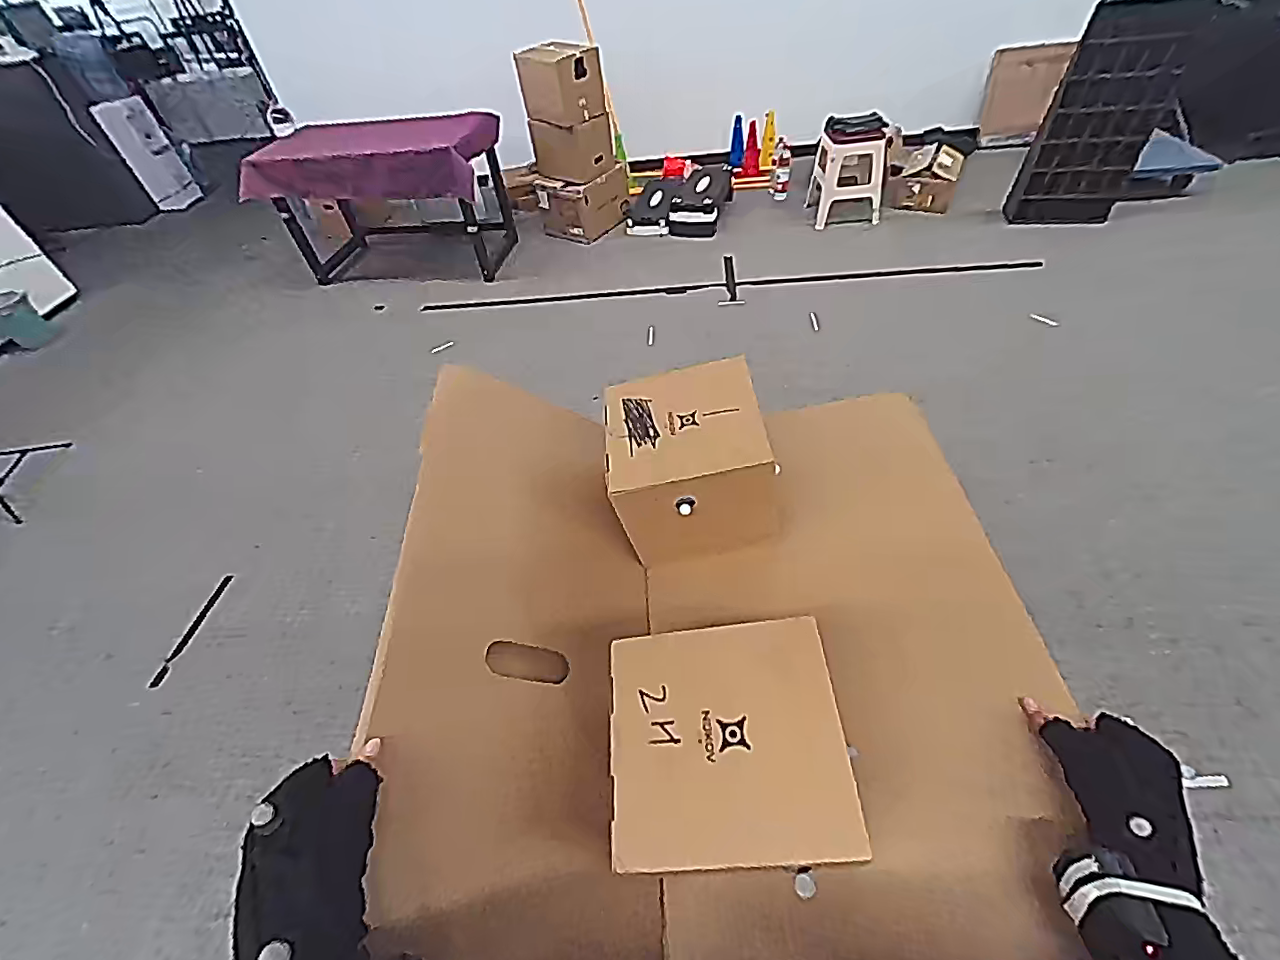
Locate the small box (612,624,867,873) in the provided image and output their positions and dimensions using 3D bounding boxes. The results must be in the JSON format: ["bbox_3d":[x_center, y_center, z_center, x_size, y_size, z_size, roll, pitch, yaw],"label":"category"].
[{"bbox_3d":[0.082,0.242,0.477,0.179,0.176,0.168,-10,52,10],"label":"small box"}]

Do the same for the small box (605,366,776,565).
[{"bbox_3d":[0.064,-0.010,0.673,0.179,0.176,0.168,-11,52,8],"label":"small box"}]
